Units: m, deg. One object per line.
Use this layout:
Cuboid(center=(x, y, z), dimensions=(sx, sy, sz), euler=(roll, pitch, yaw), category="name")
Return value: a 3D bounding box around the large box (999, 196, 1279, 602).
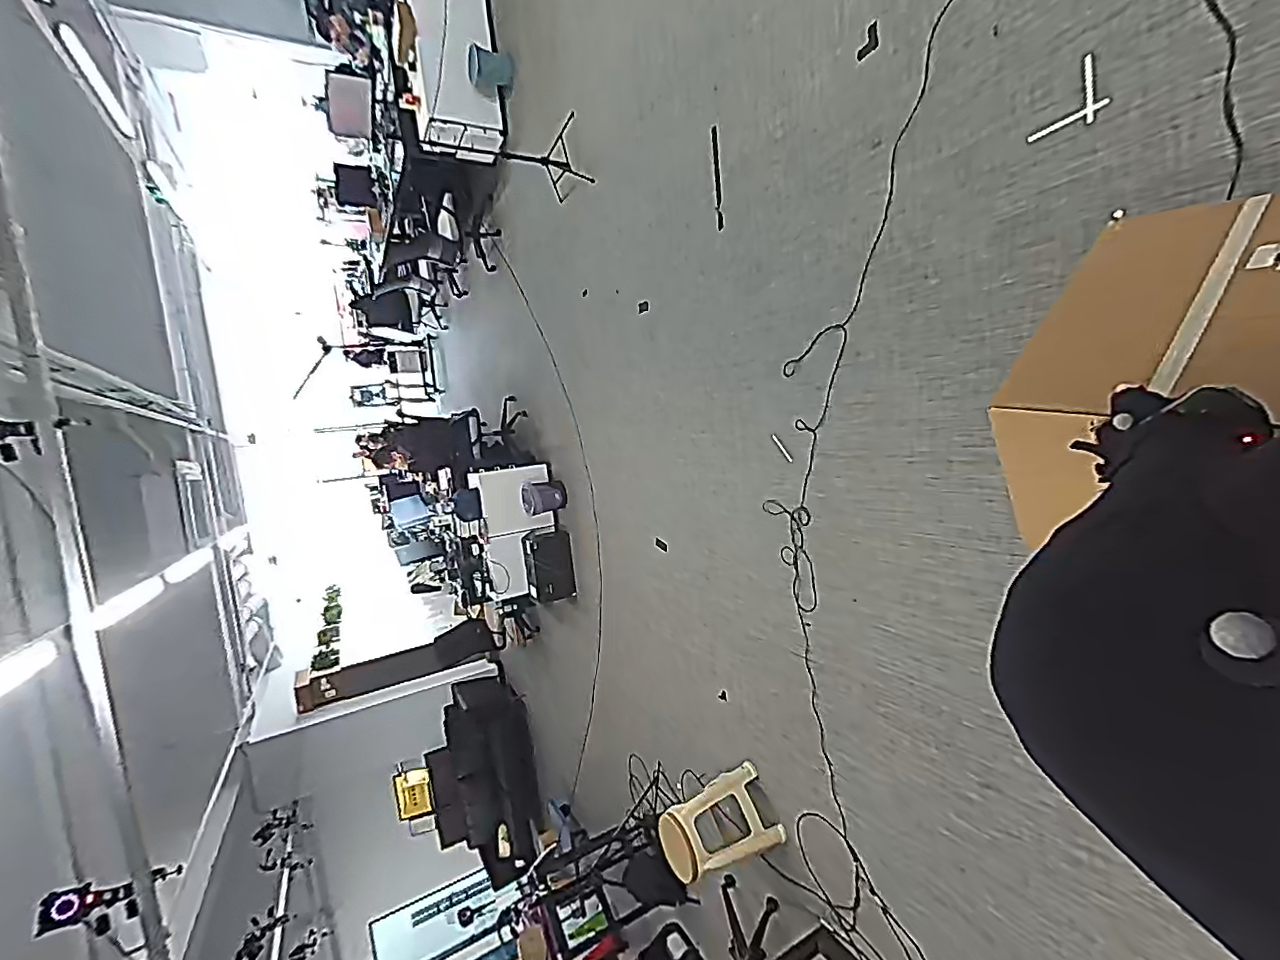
Cuboid(center=(0.749, -0.110, 0.713), dimensions=(0.320, 0.408, 0.320), euler=(19, 153, 53), category="large box")
